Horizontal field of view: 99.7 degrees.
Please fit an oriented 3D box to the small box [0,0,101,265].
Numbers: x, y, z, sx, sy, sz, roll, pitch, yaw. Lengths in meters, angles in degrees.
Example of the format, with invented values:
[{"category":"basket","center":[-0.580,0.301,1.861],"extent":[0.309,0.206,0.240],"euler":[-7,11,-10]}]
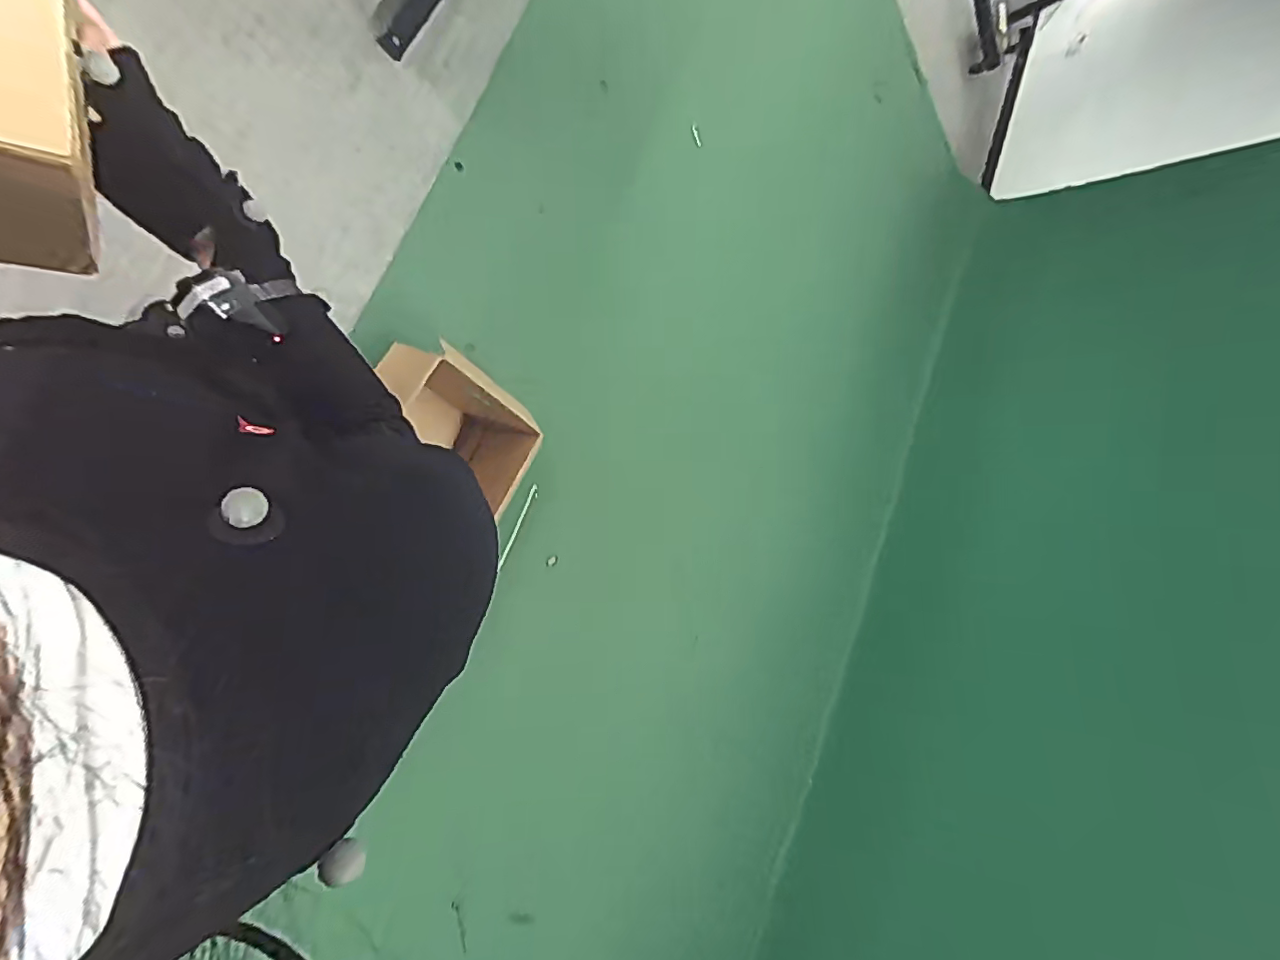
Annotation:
[{"category":"small box","center":[-0.400,-0.239,0.279],"extent":[0.168,0.176,0.179],"euler":[-5,91,-44]}]
